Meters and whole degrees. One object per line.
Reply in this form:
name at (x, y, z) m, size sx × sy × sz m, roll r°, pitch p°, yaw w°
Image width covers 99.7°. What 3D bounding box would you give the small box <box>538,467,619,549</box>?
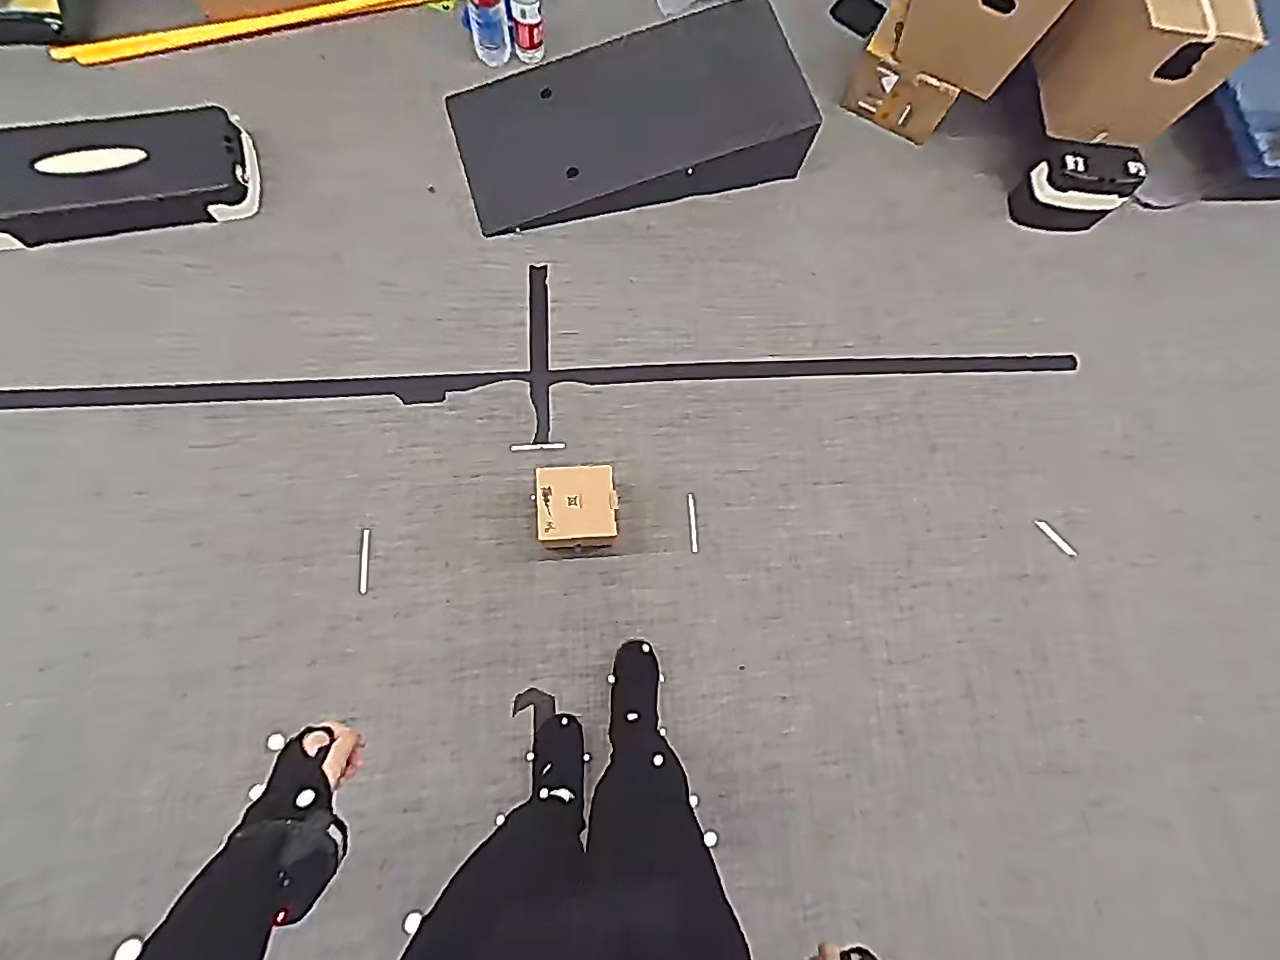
small box at (-0.147, 0.070, 1.271) m, size 0.179 × 0.176 × 0.168 m, roll -2°, pitch 76°, yaw -7°
